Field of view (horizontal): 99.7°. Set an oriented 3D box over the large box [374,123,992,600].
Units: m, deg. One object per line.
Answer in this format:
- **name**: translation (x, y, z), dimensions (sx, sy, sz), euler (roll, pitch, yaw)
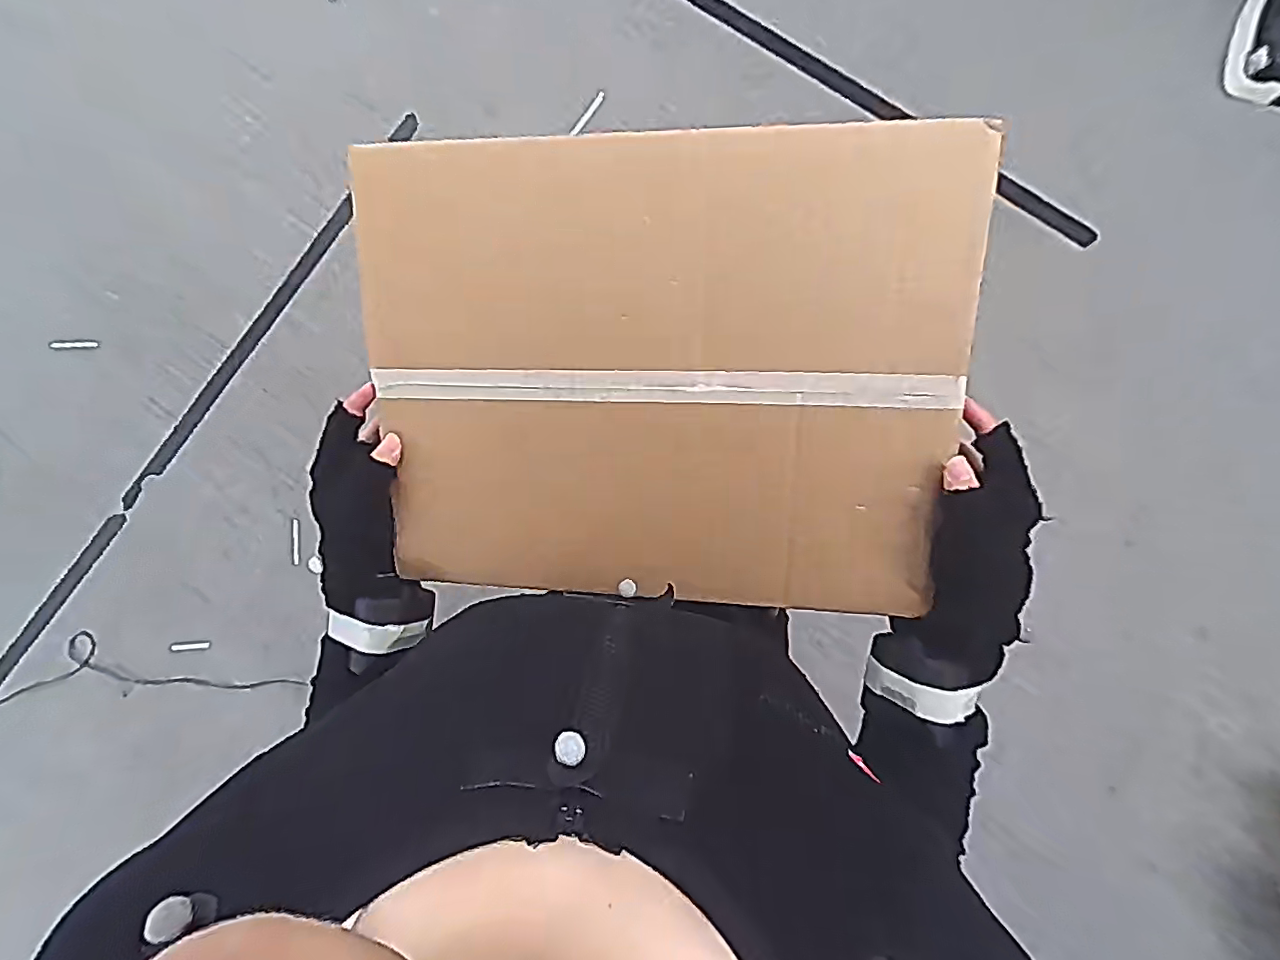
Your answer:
- **large box**: translation (0.031, -0.102, 0.522), dimensions (0.408, 0.320, 0.320), euler (3, 105, 8)
